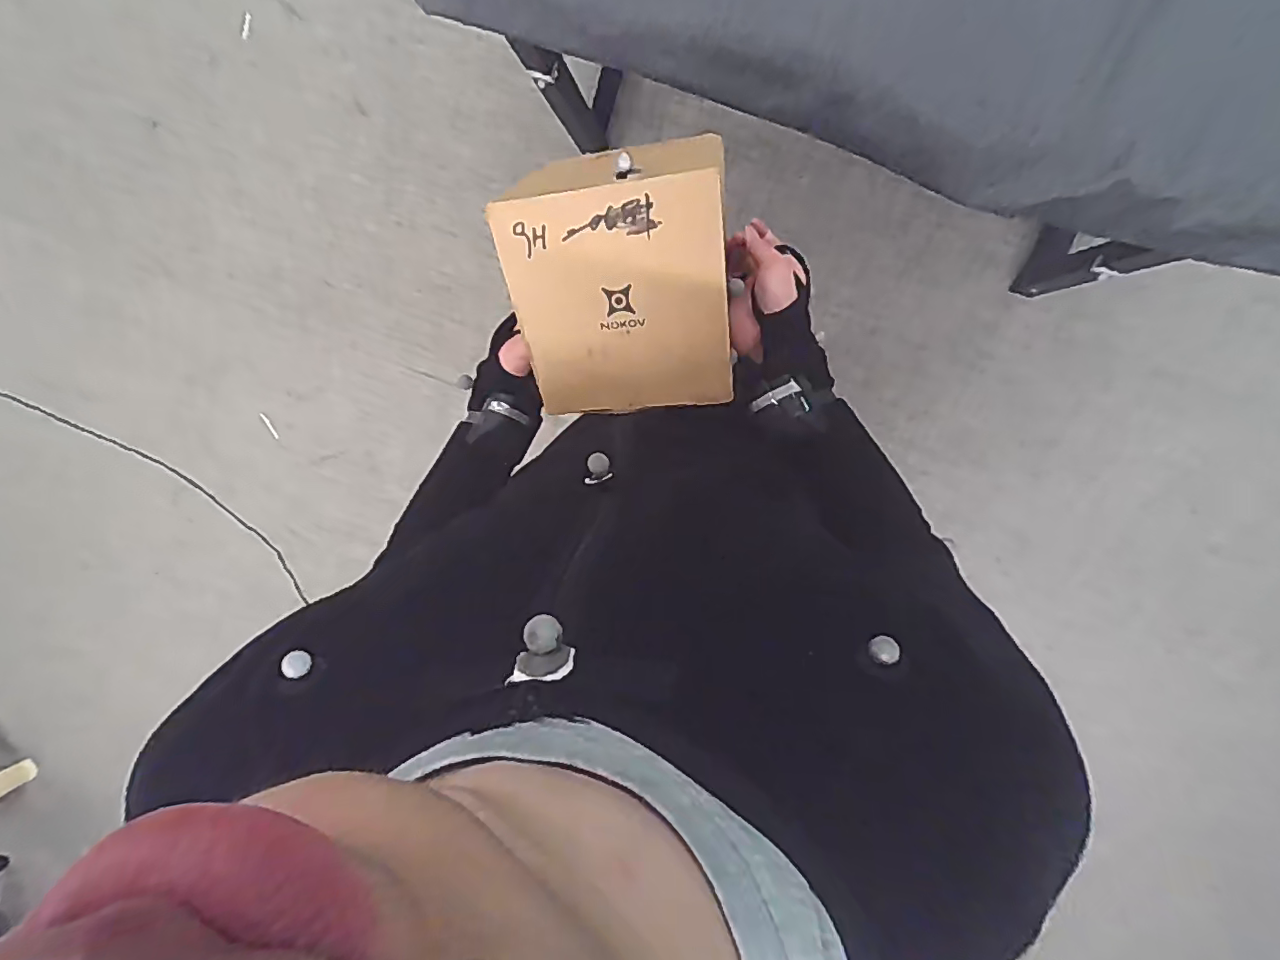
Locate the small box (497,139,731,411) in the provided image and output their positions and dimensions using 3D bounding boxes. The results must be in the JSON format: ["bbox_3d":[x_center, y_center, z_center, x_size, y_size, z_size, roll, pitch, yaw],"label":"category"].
[{"bbox_3d":[-0.003,-0.183,0.488,0.168,0.176,0.179,-3,129,10],"label":"small box"}]
